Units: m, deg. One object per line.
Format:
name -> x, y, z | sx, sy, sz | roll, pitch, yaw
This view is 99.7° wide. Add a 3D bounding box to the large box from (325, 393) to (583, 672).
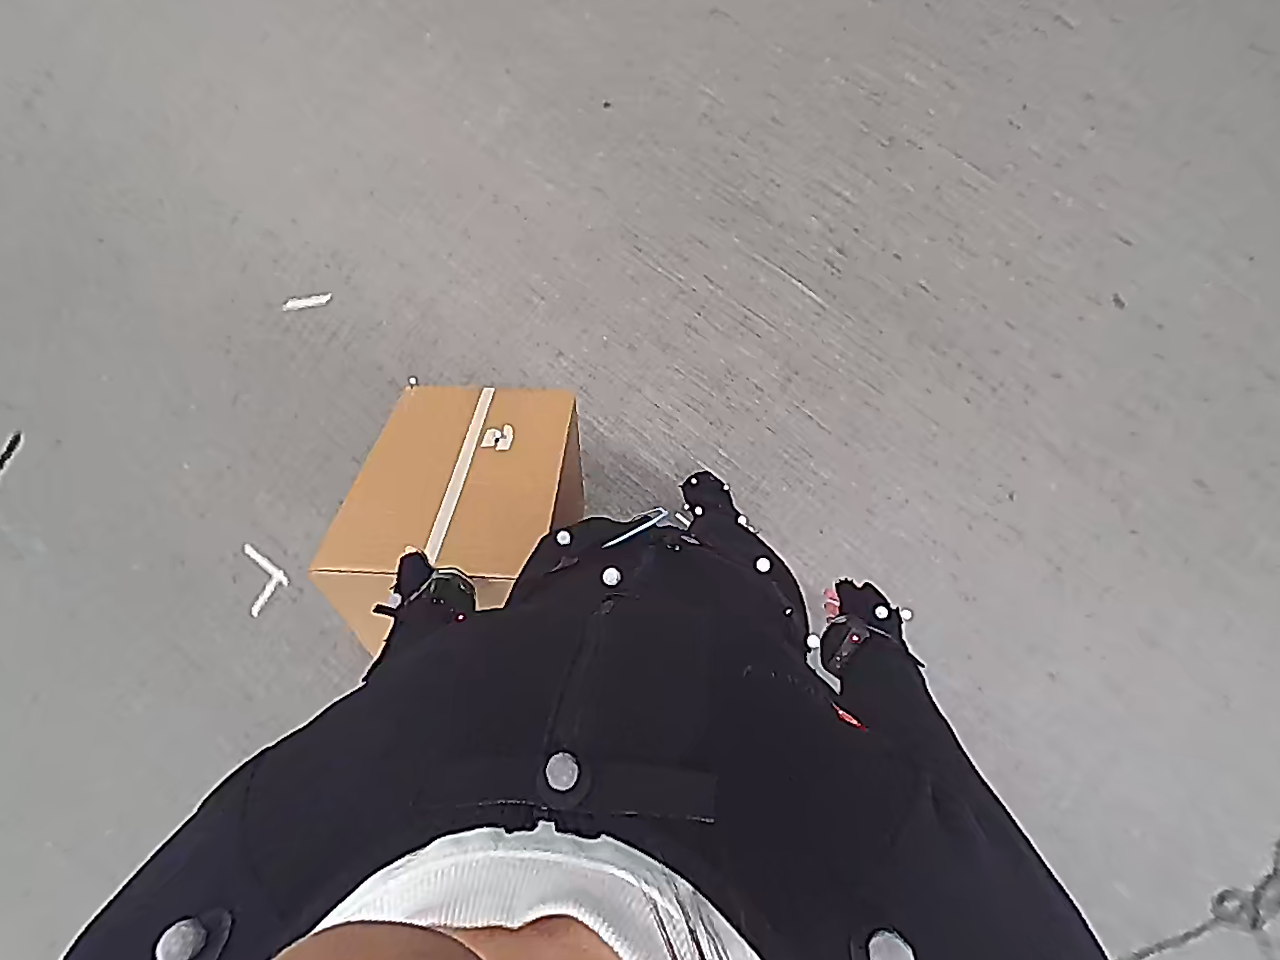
large box -> -0.278, 0.092, 0.971 | 0.320, 0.320, 0.408 | 2, 46, -1
